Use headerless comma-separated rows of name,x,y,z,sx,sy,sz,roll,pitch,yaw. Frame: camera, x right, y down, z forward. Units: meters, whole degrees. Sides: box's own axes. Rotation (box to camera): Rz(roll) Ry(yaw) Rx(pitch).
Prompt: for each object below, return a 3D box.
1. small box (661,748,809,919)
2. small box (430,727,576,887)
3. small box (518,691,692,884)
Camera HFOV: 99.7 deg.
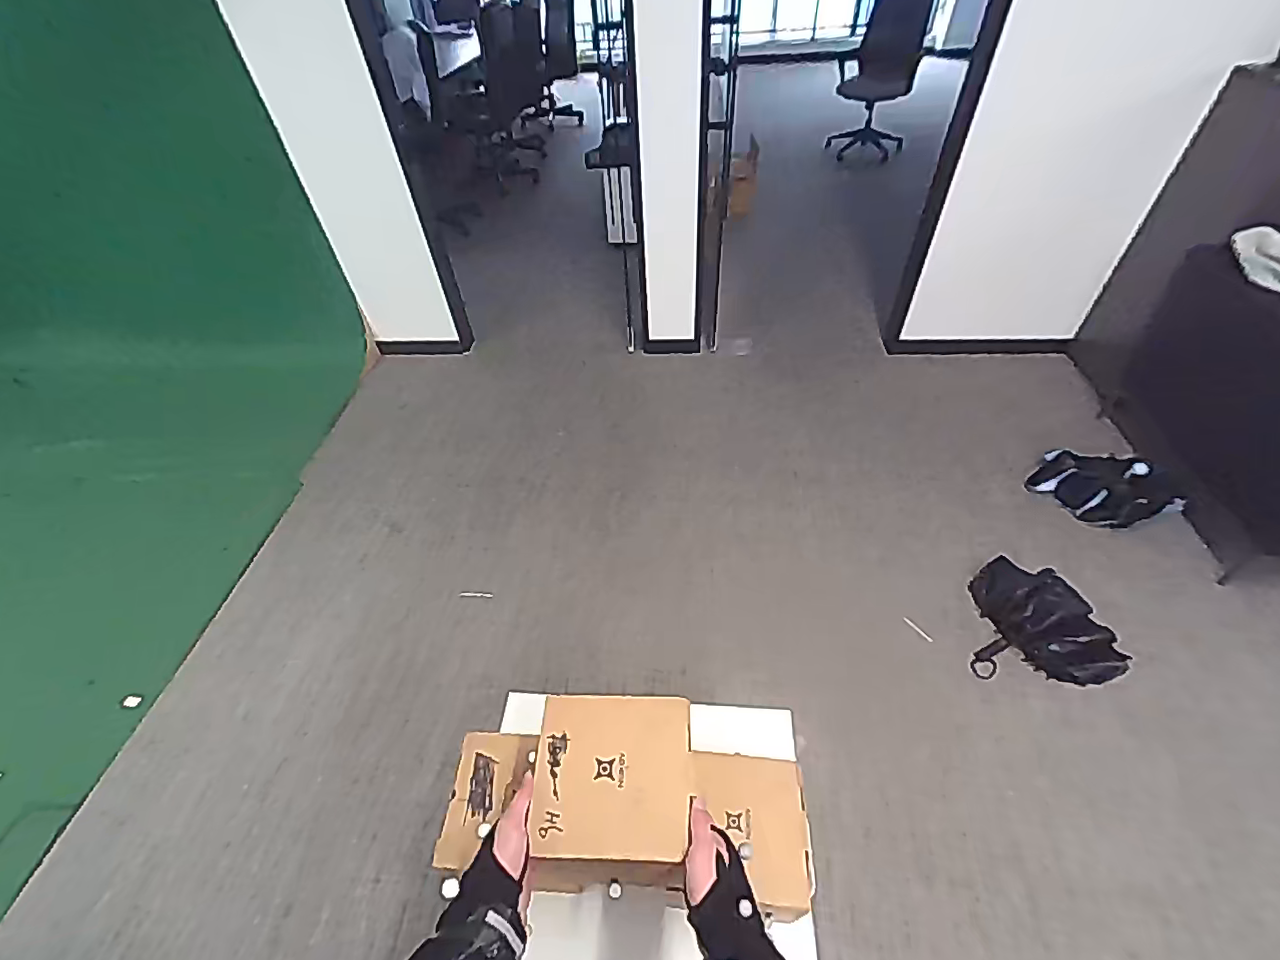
small box,0.125,0.491,0.752,0.179,0.176,0.168,1,46,7
small box,-0.171,0.475,0.782,0.179,0.176,0.168,2,47,3
small box,-0.031,0.371,0.649,0.179,0.176,0.168,1,46,2
